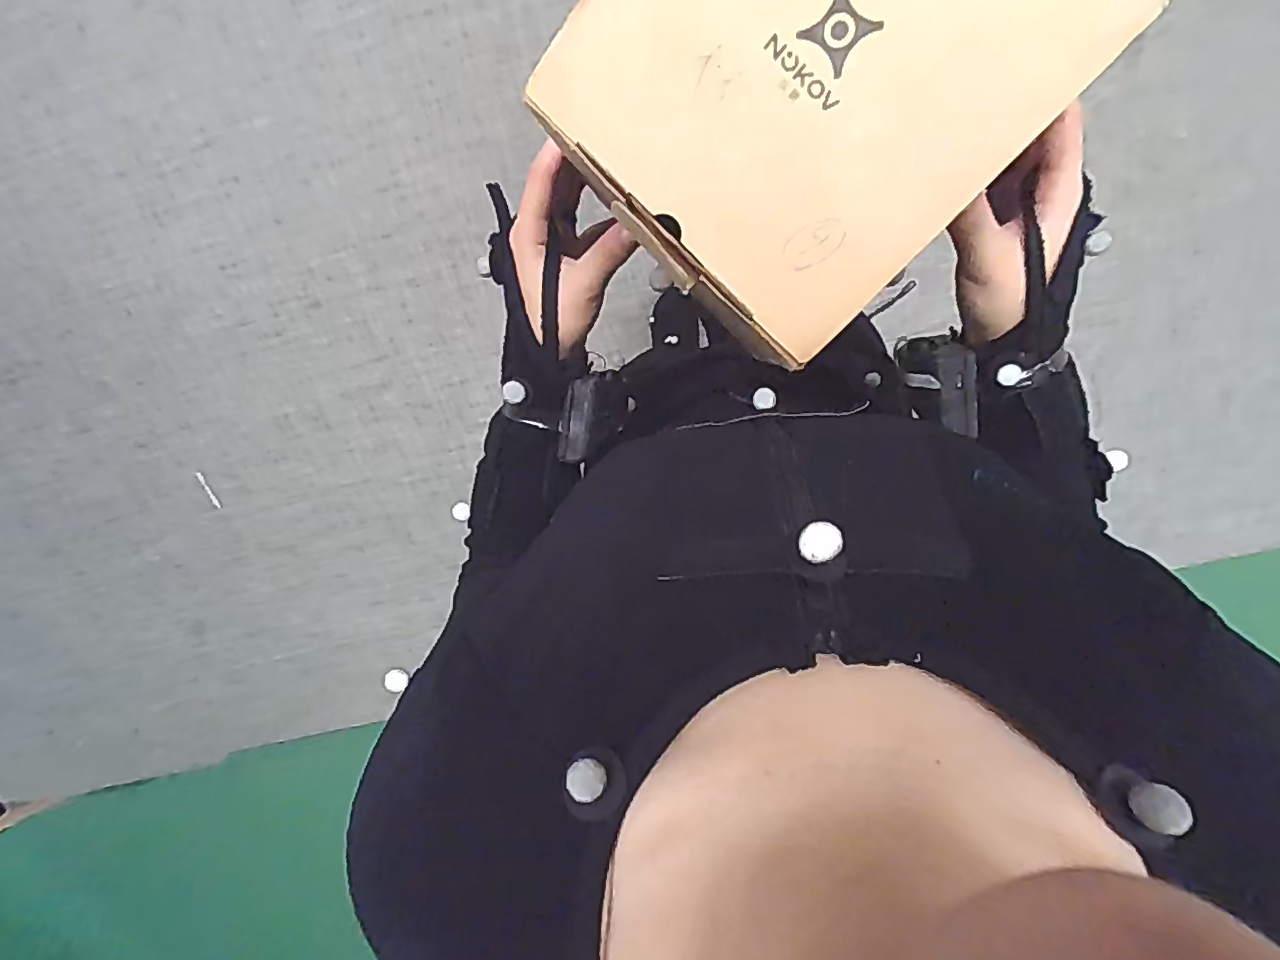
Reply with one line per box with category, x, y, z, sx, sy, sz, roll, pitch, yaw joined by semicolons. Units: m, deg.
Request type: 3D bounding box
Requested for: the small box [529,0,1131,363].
small box;0.077;-0.183;0.292;0.168;0.176;0.179;43;105;-4
